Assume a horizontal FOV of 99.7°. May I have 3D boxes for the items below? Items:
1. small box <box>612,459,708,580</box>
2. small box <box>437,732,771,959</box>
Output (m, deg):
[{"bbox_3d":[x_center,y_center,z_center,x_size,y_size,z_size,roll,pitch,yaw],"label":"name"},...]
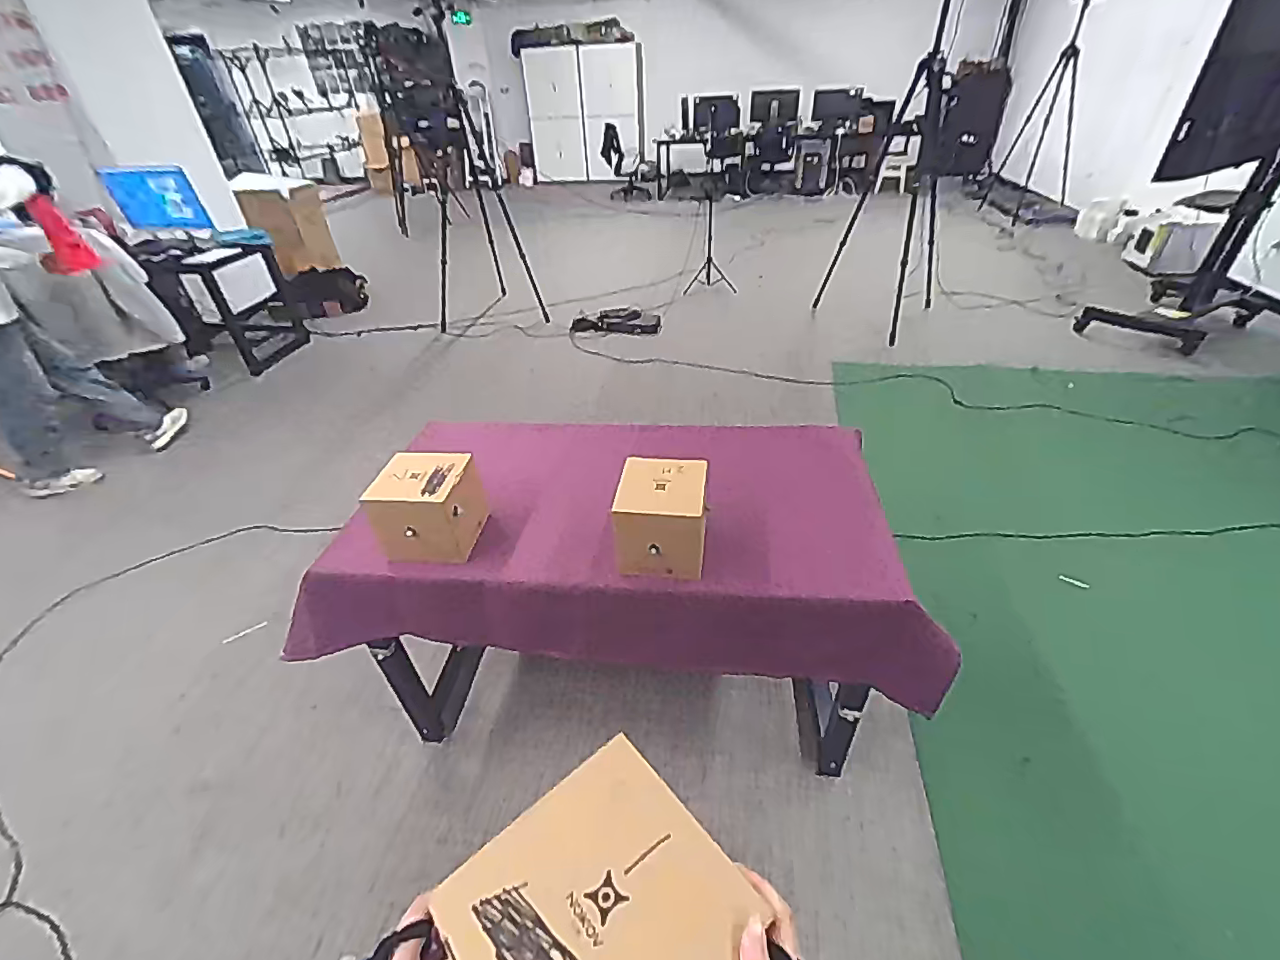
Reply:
[{"bbox_3d":[0.047,0.079,1.082,0.168,0.176,0.179,4,37,9],"label":"small box"},{"bbox_3d":[-0.021,0.347,0.413,0.179,0.176,0.168,-29,43,-28],"label":"small box"}]
